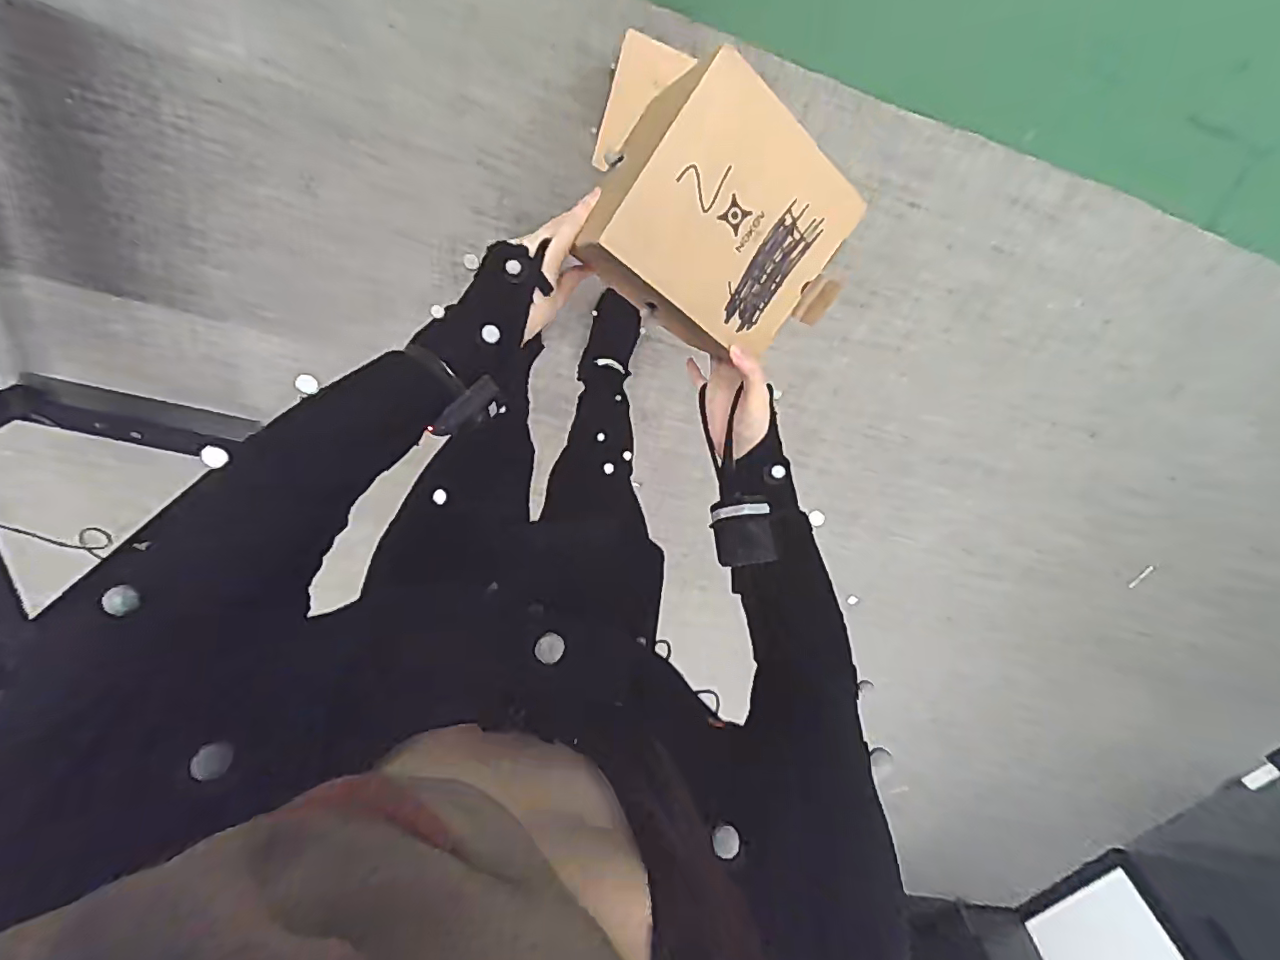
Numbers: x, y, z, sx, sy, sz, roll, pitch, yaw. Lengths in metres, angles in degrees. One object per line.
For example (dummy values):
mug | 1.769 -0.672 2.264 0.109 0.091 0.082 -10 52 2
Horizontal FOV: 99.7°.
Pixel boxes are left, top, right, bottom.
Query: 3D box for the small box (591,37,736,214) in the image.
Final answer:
small box | 0.029 -0.545 0.846 0.168 0.176 0.179 15 121 -13
